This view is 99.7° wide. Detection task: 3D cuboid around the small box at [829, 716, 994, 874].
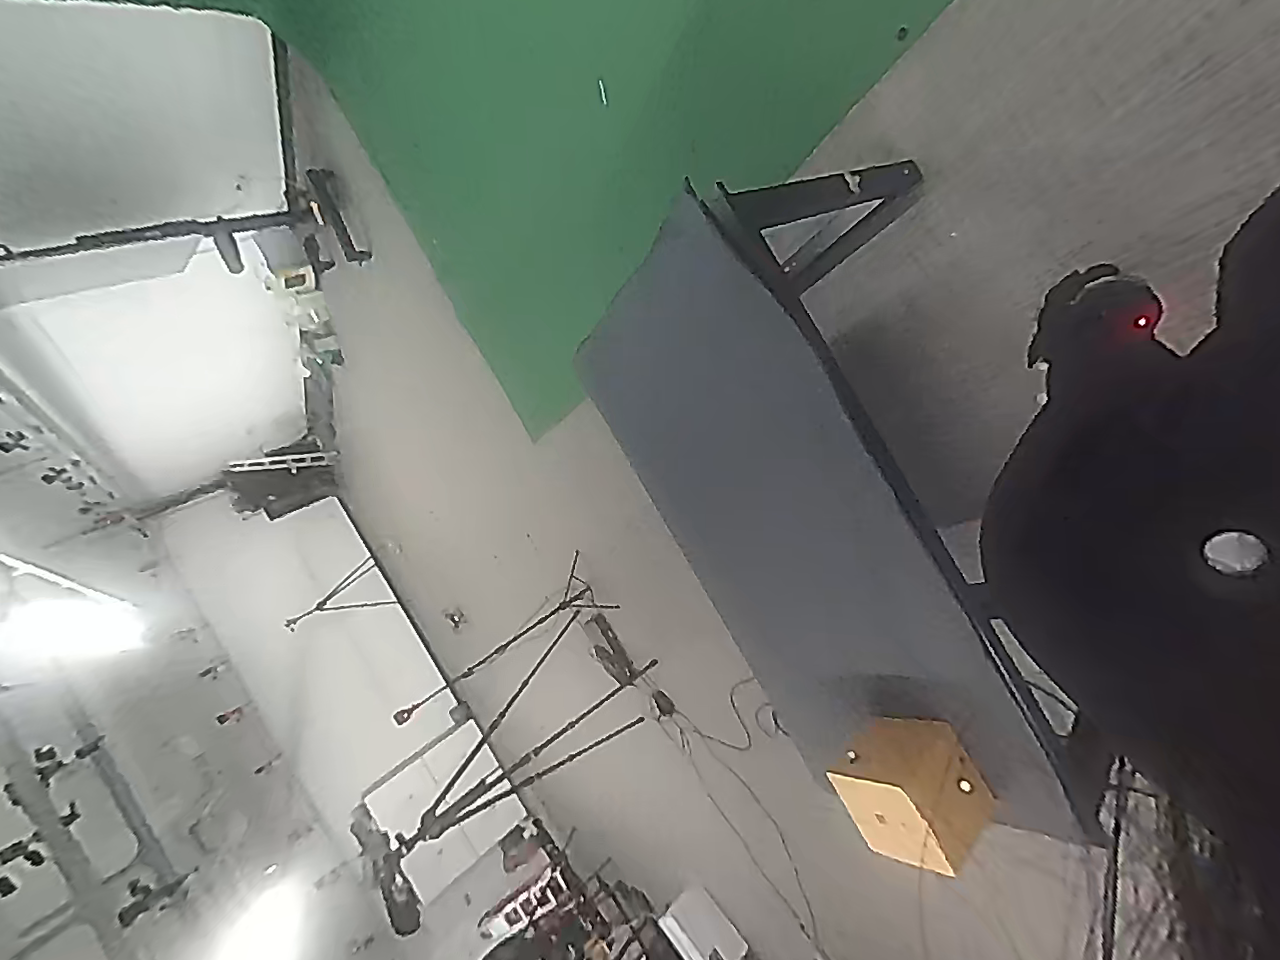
[{"bbox_3d":[0.490,0.551,0.978,0.168,0.176,0.179,59,147,3],"label":"small box"}]
